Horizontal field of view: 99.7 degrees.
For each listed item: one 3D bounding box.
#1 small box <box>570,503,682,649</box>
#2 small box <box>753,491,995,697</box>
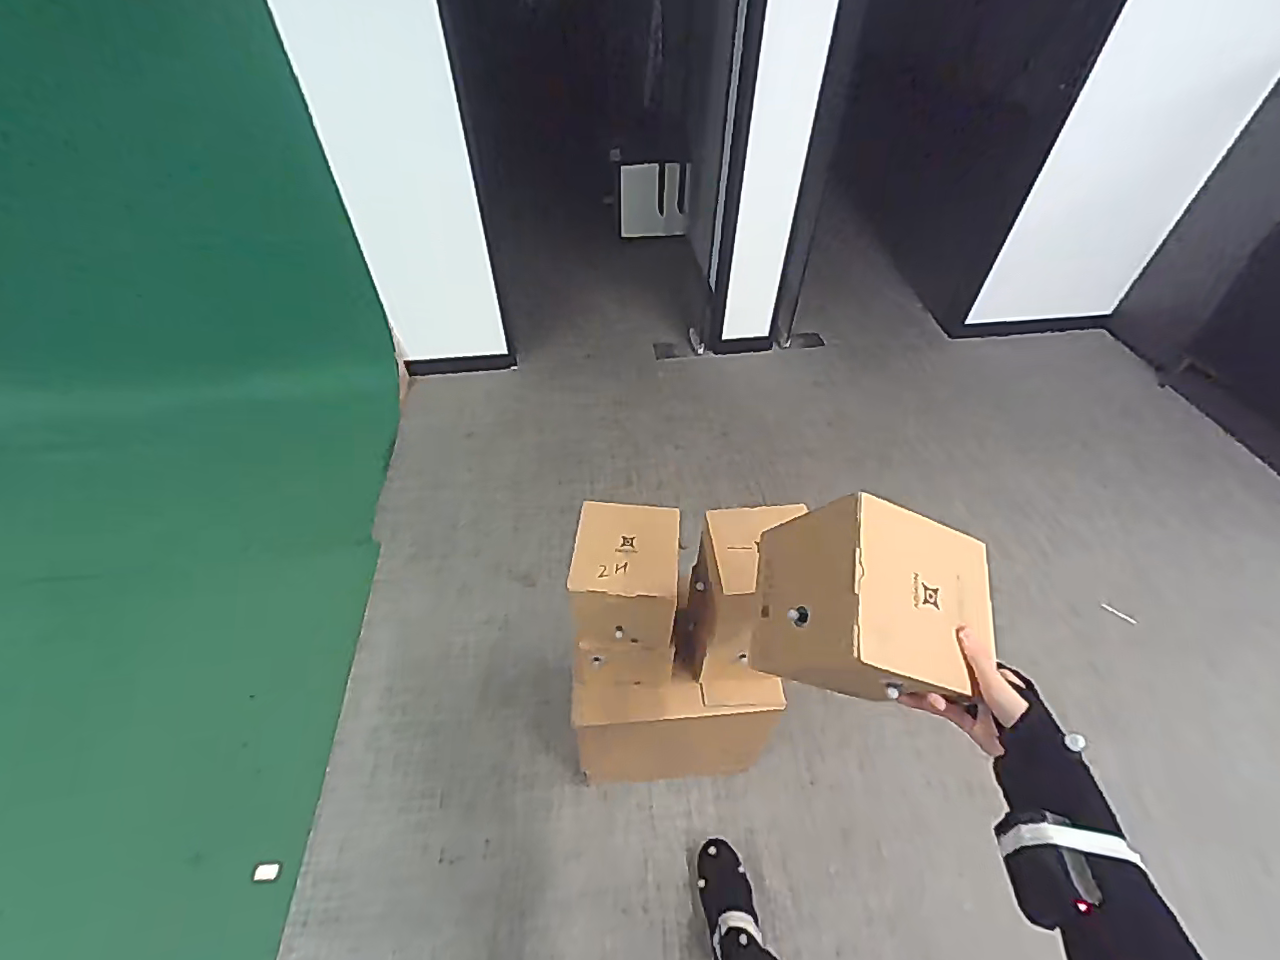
[{"bbox_3d":[-0.019,0.162,0.916,0.168,0.176,0.179,4,48,2],"label":"small box"},{"bbox_3d":[0.244,0.136,0.594,0.179,0.176,0.168,20,64,-17],"label":"small box"}]
